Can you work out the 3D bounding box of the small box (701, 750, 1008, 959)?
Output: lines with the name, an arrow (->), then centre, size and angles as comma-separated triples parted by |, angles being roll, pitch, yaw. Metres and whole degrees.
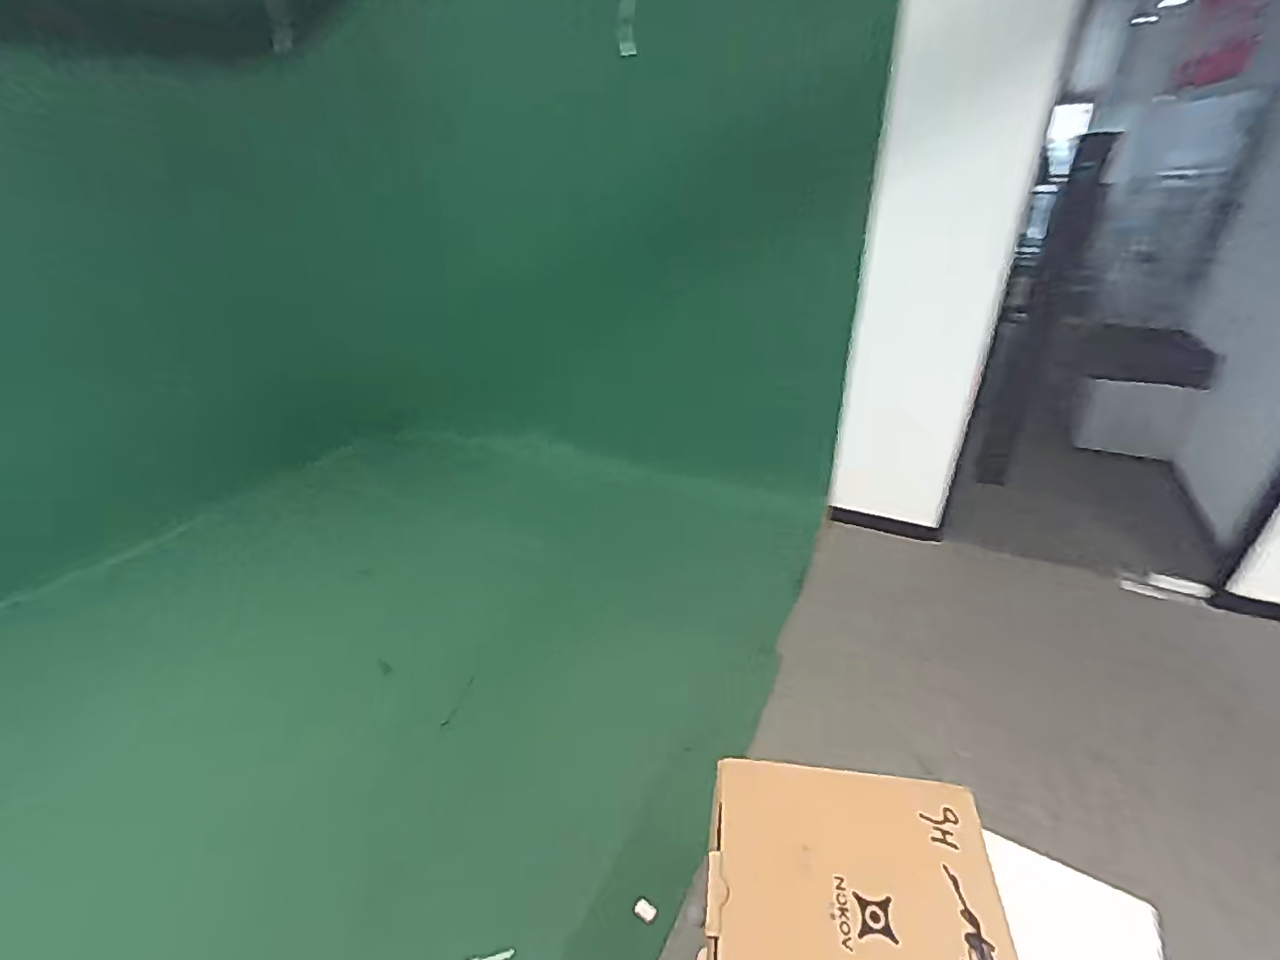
small box -> 0.134, 0.320, 0.389 | 0.179, 0.176, 0.168 | 3, 42, 7
